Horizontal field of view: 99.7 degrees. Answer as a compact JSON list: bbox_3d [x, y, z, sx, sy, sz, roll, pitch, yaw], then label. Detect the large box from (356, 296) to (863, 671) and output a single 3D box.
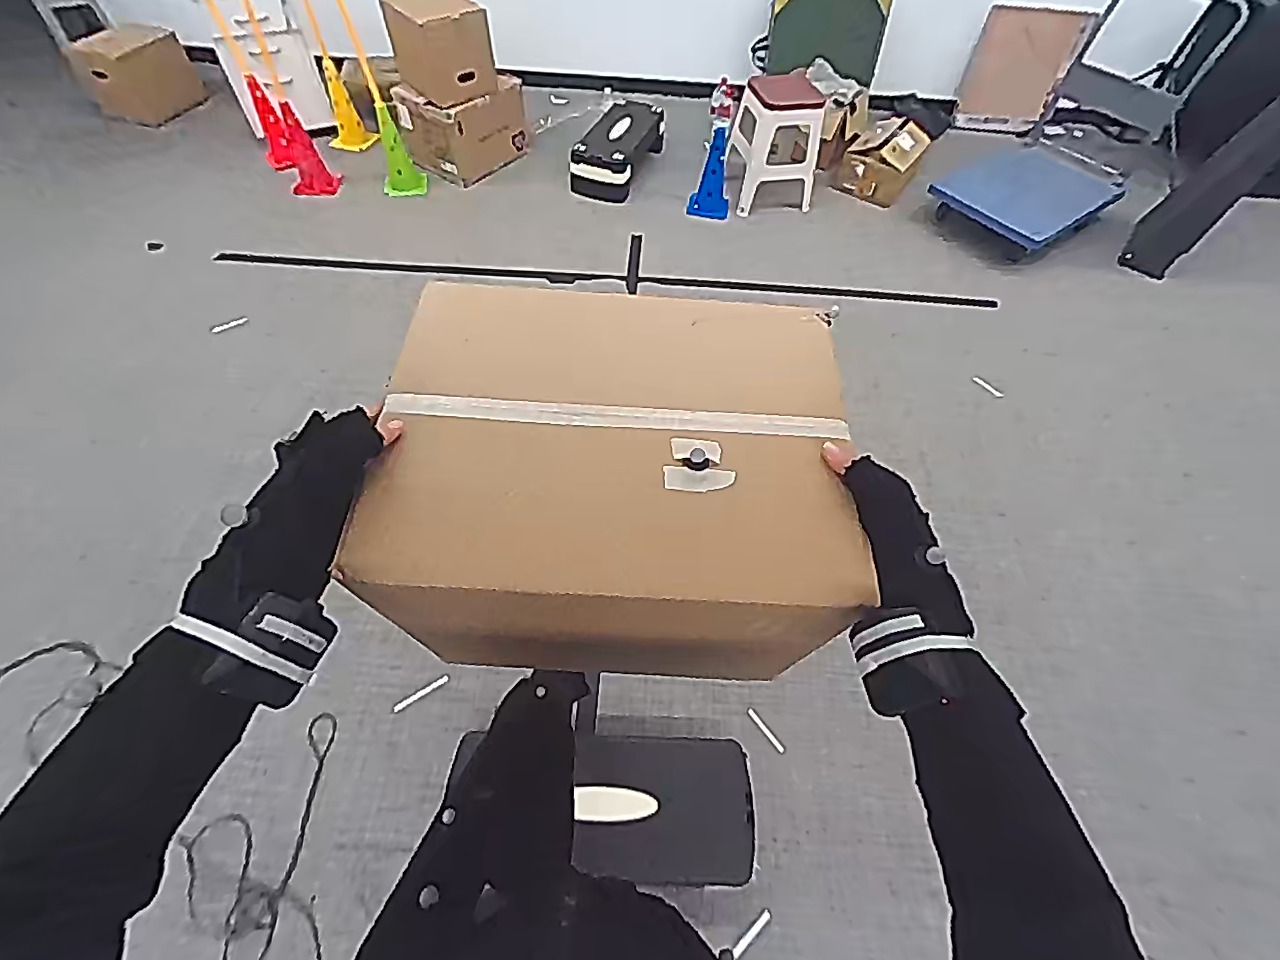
[{"bbox_3d":[-0.026,0.024,0.619,0.408,0.320,0.320,4,60,-1],"label":"large box"}]
